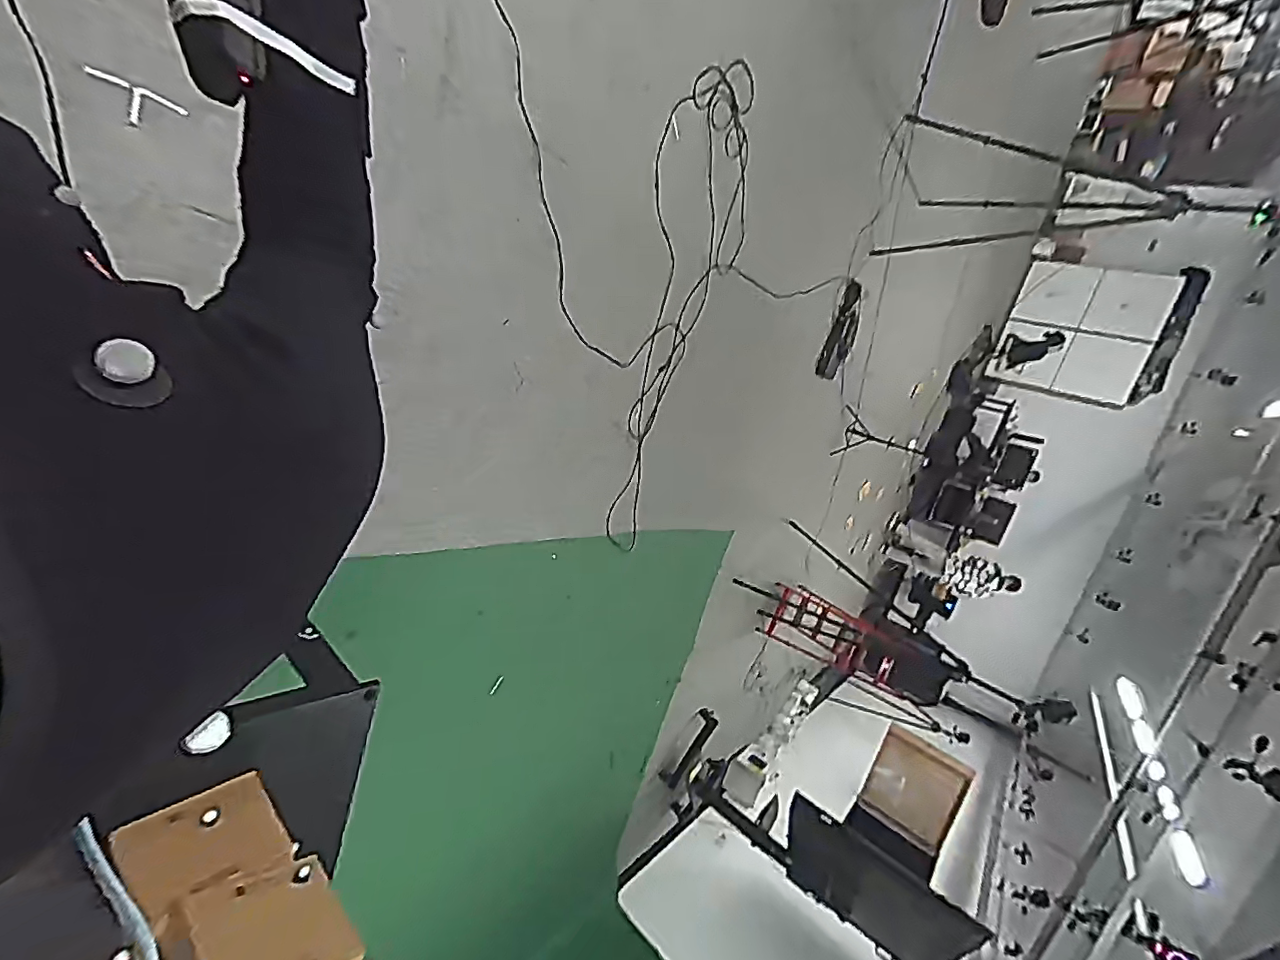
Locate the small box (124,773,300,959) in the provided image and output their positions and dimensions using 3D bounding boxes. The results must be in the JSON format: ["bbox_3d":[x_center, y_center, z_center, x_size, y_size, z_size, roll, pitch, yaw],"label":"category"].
[{"bbox_3d":[-0.608,0.571,0.773,0.168,0.176,0.179,-10,117,-49],"label":"small box"}]

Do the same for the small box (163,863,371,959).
[{"bbox_3d":[-0.484,0.629,0.681,0.168,0.176,0.179,24,91,-55],"label":"small box"}]
